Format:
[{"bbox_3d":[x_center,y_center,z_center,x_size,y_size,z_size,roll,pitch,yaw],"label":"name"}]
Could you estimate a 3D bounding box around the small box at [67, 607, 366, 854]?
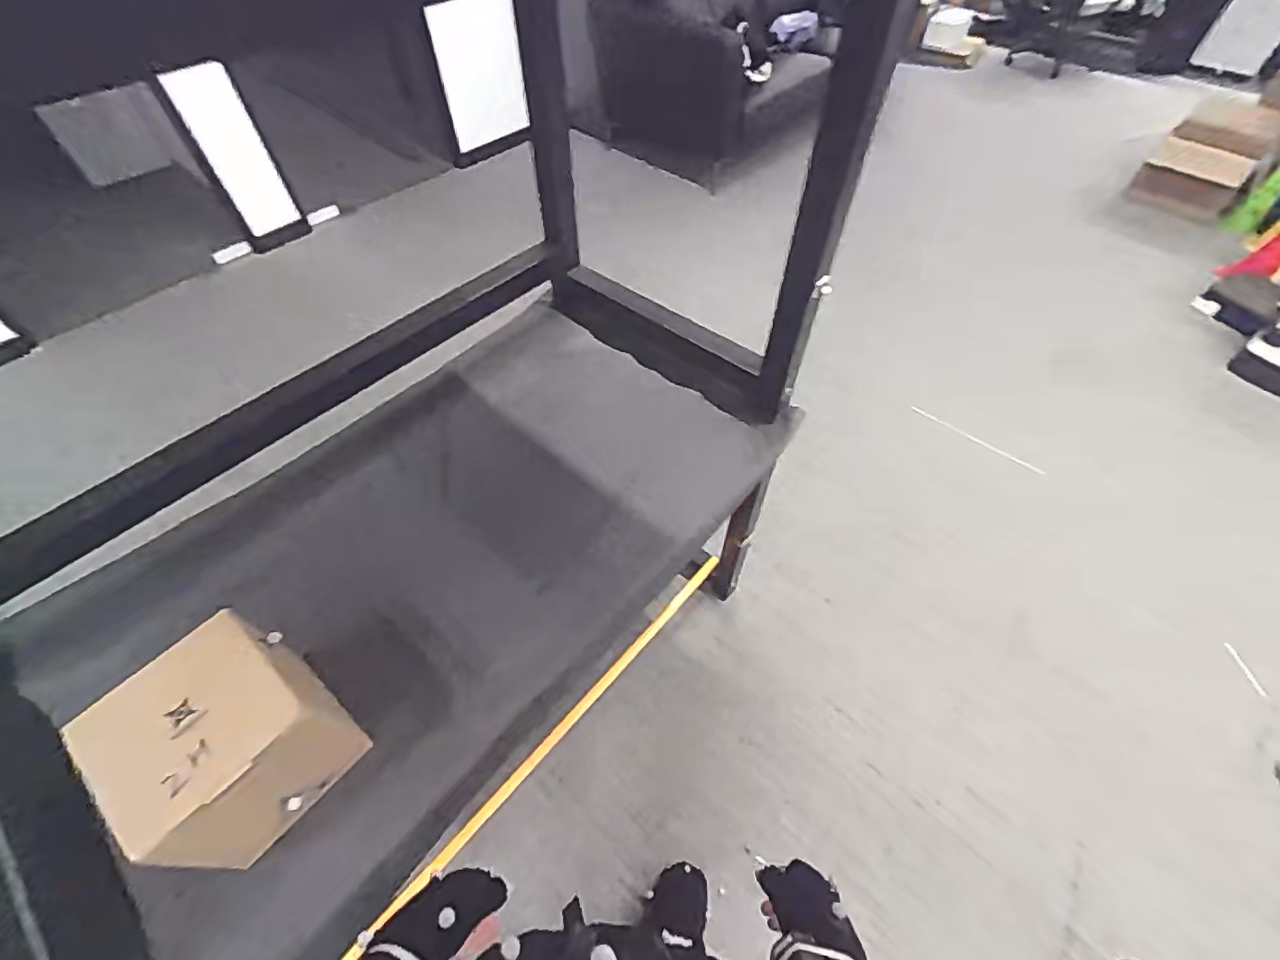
[{"bbox_3d":[-0.449,0.282,0.601,0.179,0.176,0.168,33,60,22],"label":"small box"}]
